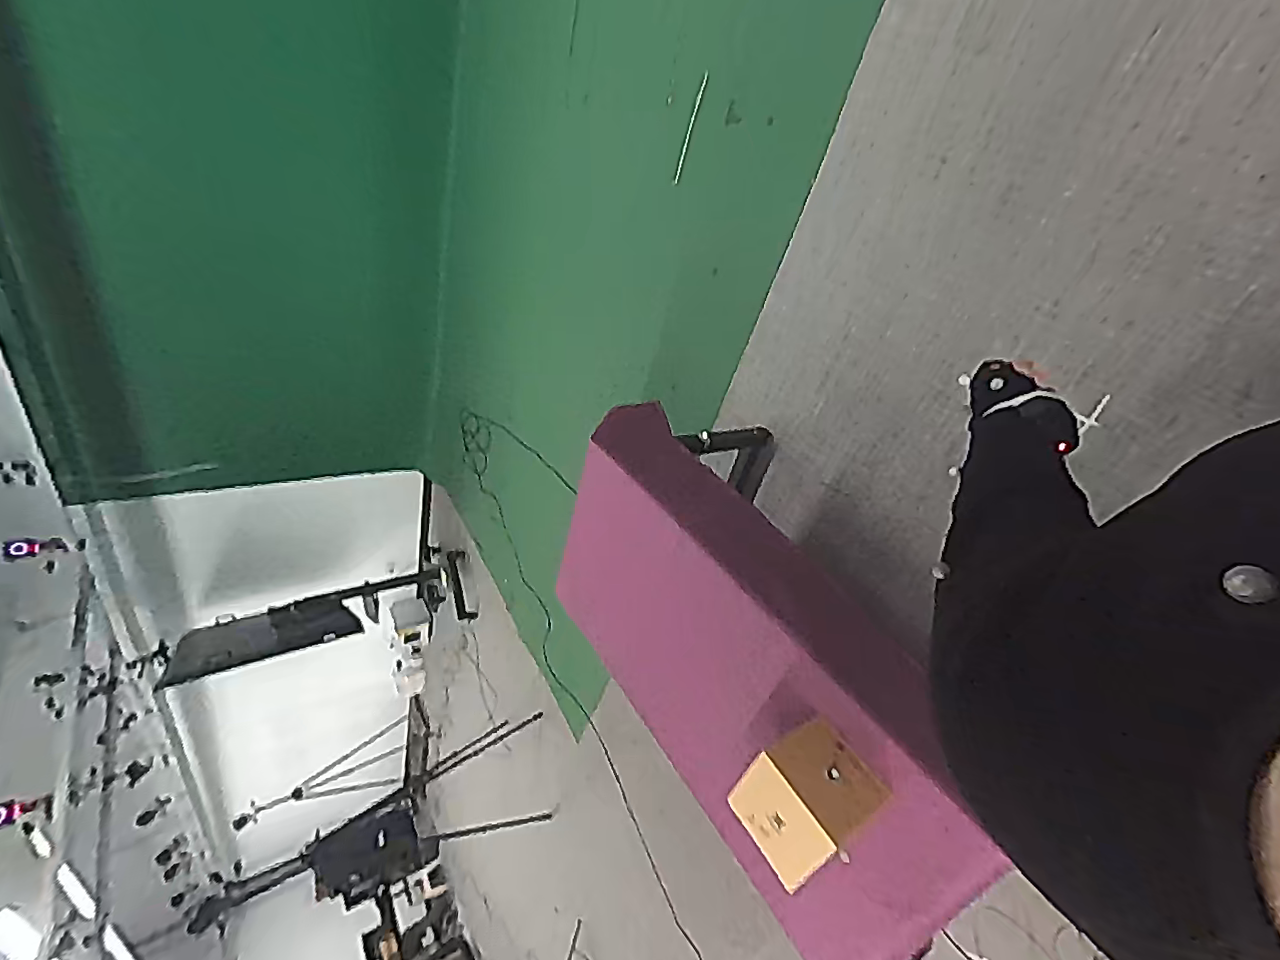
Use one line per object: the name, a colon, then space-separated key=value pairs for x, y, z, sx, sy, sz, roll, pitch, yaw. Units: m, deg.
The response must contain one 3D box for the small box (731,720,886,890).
small box: x=0.297 y=0.558 z=0.948 sx=0.168 sy=0.176 sz=0.179 roll=48 pitch=133 yaw=38
